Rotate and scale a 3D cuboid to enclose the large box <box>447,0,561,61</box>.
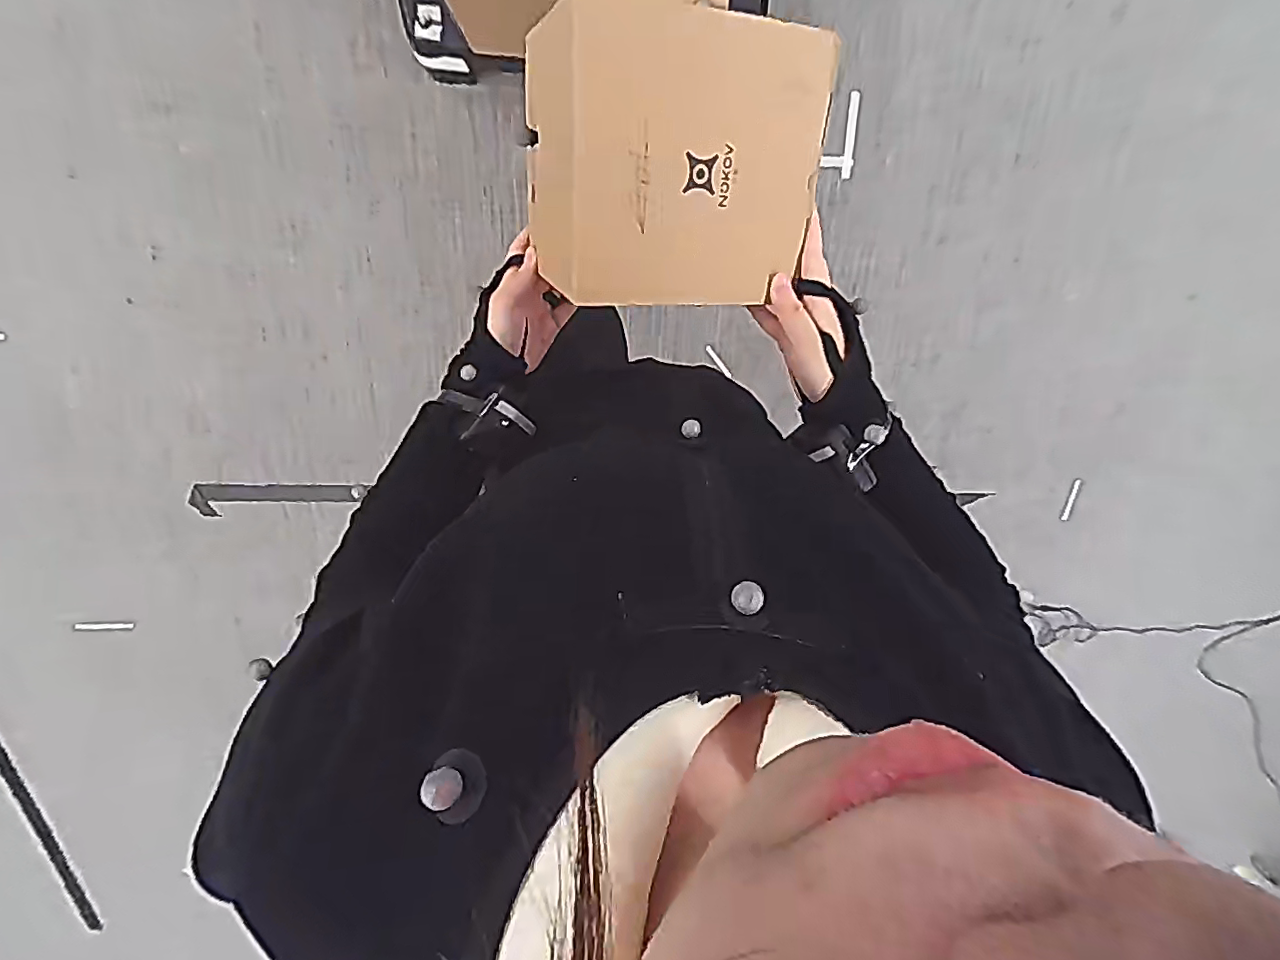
[{"bbox_3d":[-0.073,-0.843,0.799,0.408,0.320,0.320,1,111,-5],"label":"large box"}]

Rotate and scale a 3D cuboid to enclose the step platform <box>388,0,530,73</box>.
[{"bbox_3d":[-0.112,-0.917,1.024,0.684,0.204,0.286,6,111,-7],"label":"step platform"}]

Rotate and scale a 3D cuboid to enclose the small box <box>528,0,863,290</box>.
[{"bbox_3d":[0.020,-0.243,0.399,0.179,0.176,0.168,-6,120,-19],"label":"small box"}]
